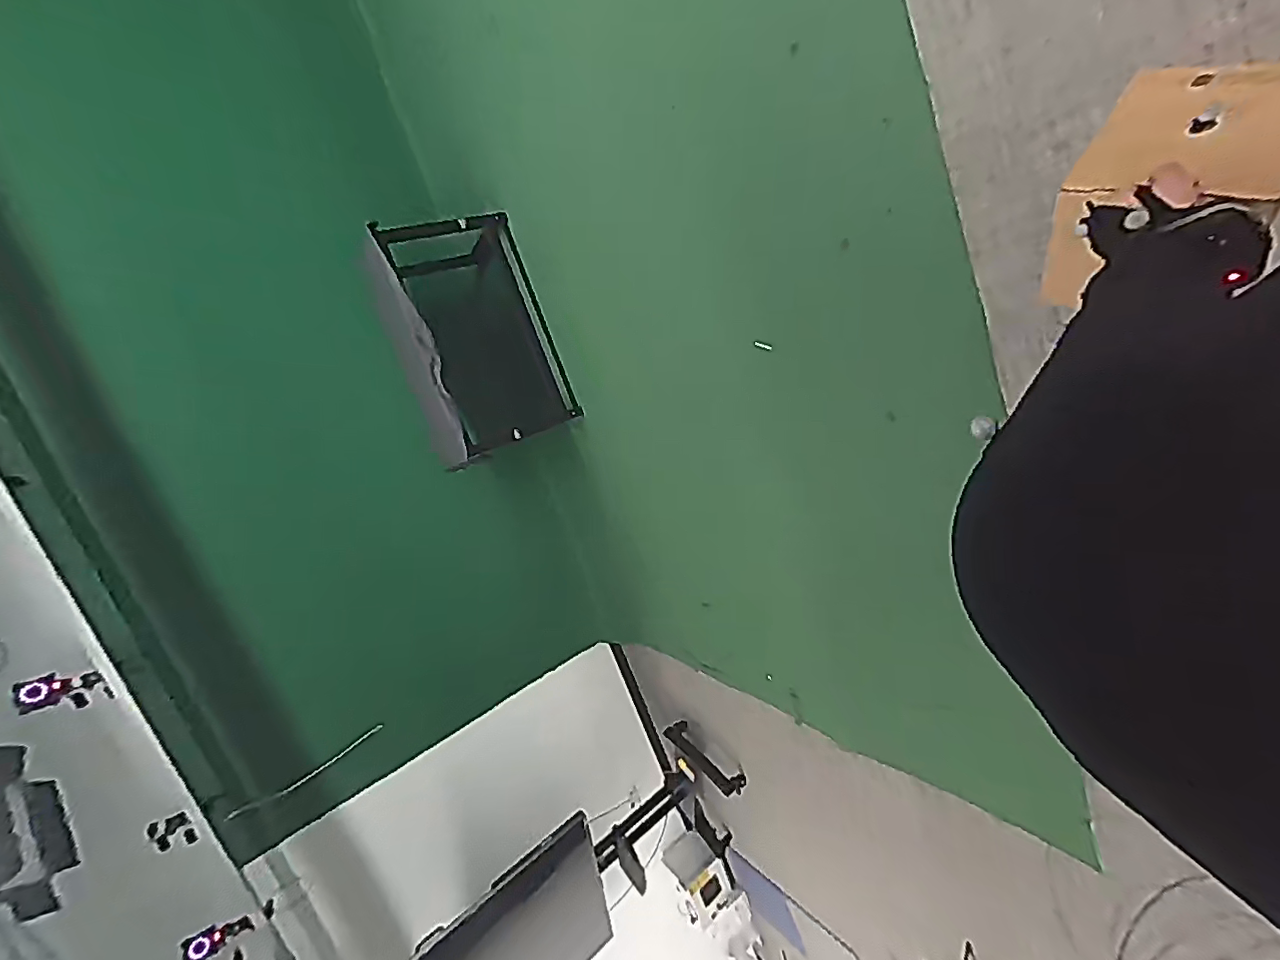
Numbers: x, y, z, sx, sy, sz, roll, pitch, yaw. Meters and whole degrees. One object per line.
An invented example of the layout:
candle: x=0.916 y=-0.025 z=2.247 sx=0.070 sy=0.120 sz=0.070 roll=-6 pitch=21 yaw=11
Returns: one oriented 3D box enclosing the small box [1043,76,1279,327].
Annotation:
small box: x=0.582 y=-0.303 z=0.590 sx=0.168 sy=0.176 sz=0.179 roll=29 pitch=172 yaw=38
